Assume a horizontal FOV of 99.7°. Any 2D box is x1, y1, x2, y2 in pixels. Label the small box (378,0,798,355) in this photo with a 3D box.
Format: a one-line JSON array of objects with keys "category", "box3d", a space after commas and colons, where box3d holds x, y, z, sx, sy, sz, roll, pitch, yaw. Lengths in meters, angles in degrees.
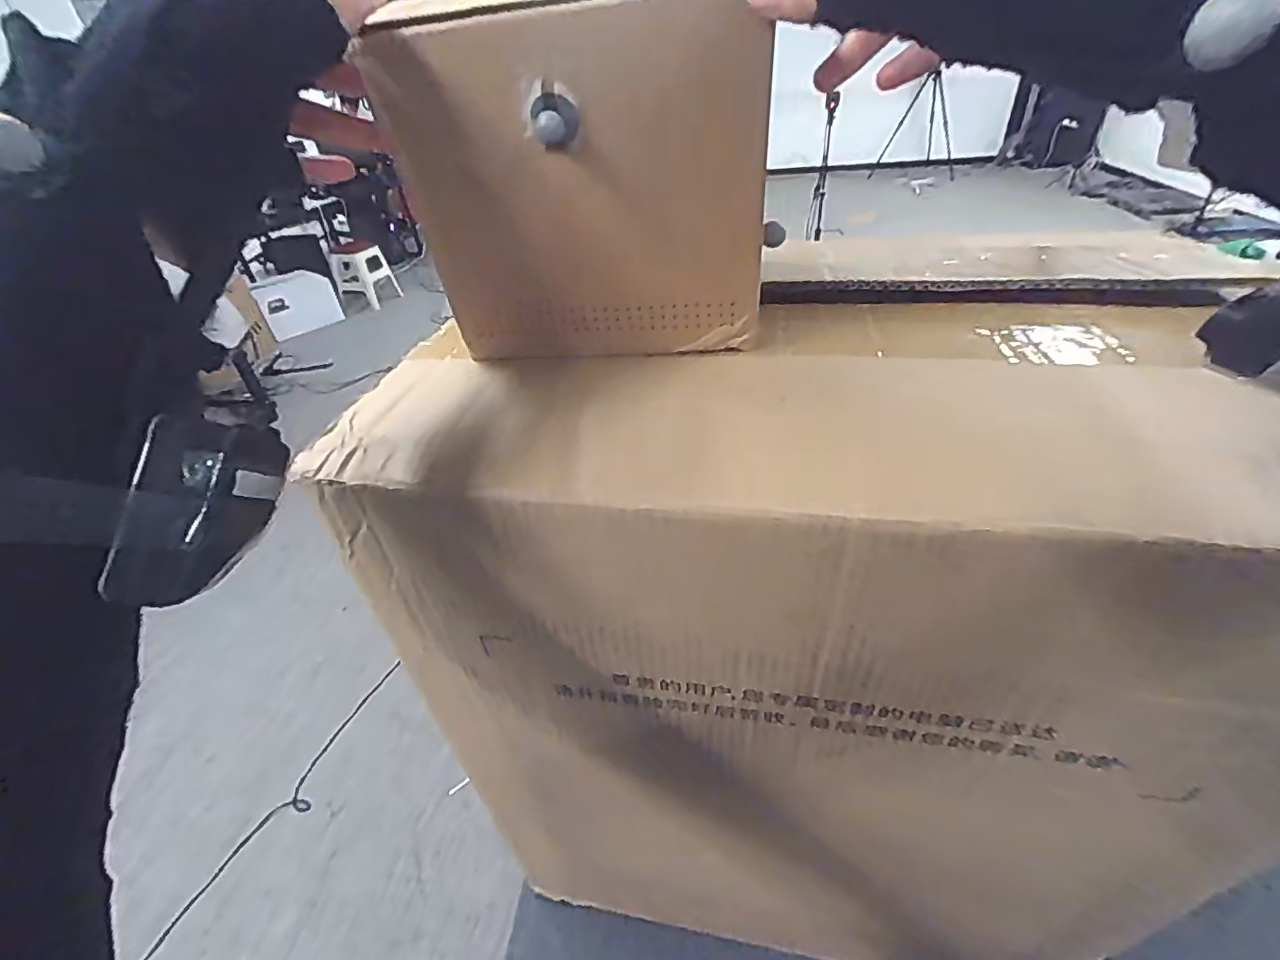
[{"category": "small box", "box3d": [-0.009, -0.189, 0.323, 0.179, 0.176, 0.168, 1, 50, 7]}]
